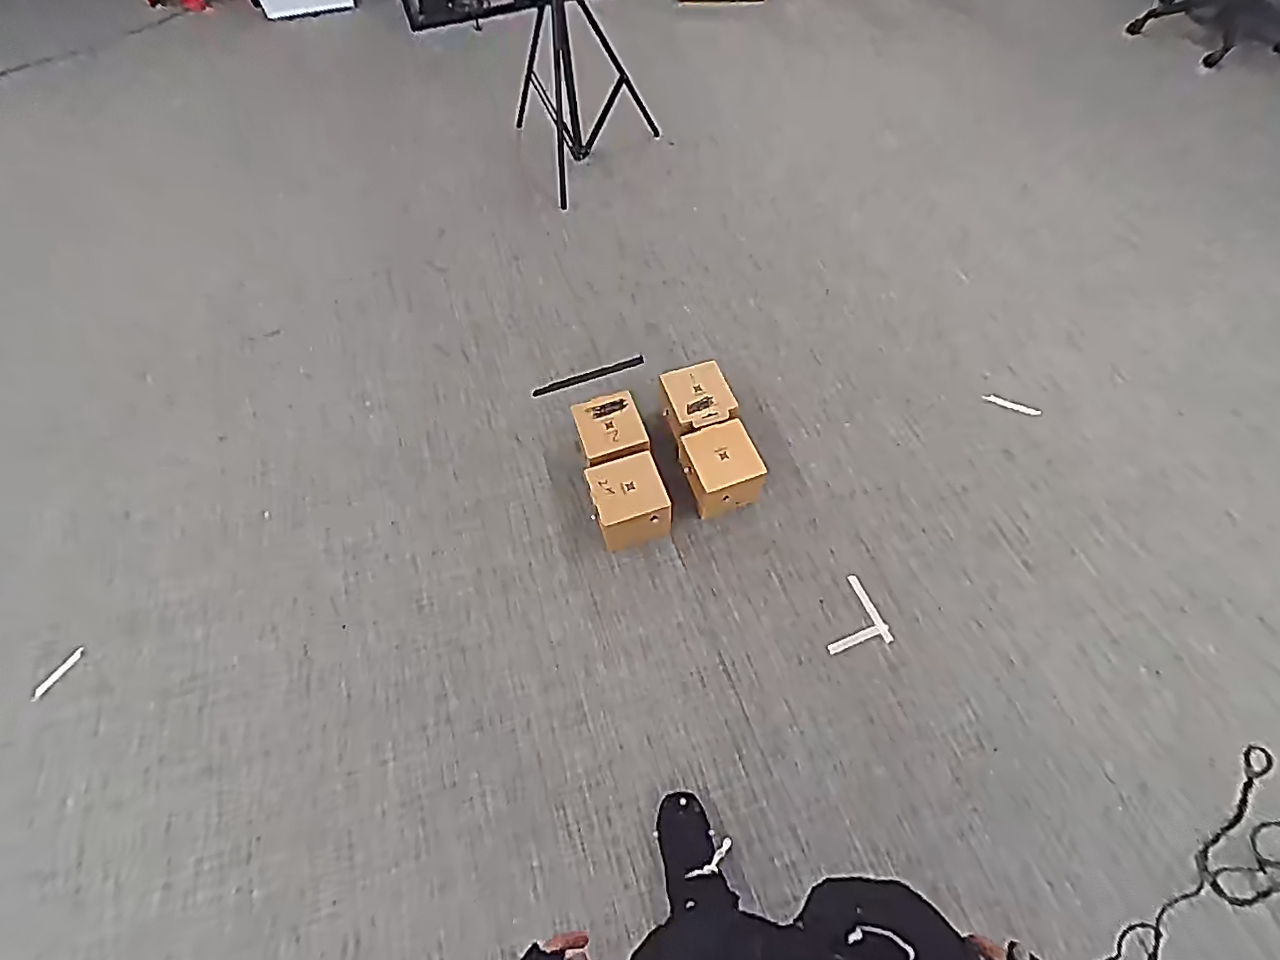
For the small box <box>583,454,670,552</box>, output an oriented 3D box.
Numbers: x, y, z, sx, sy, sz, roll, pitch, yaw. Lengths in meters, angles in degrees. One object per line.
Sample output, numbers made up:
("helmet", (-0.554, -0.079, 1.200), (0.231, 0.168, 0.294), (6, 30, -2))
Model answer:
("small box", (-0.034, 0.062, 1.379), (0.179, 0.176, 0.168), (-17, 63, -7))
